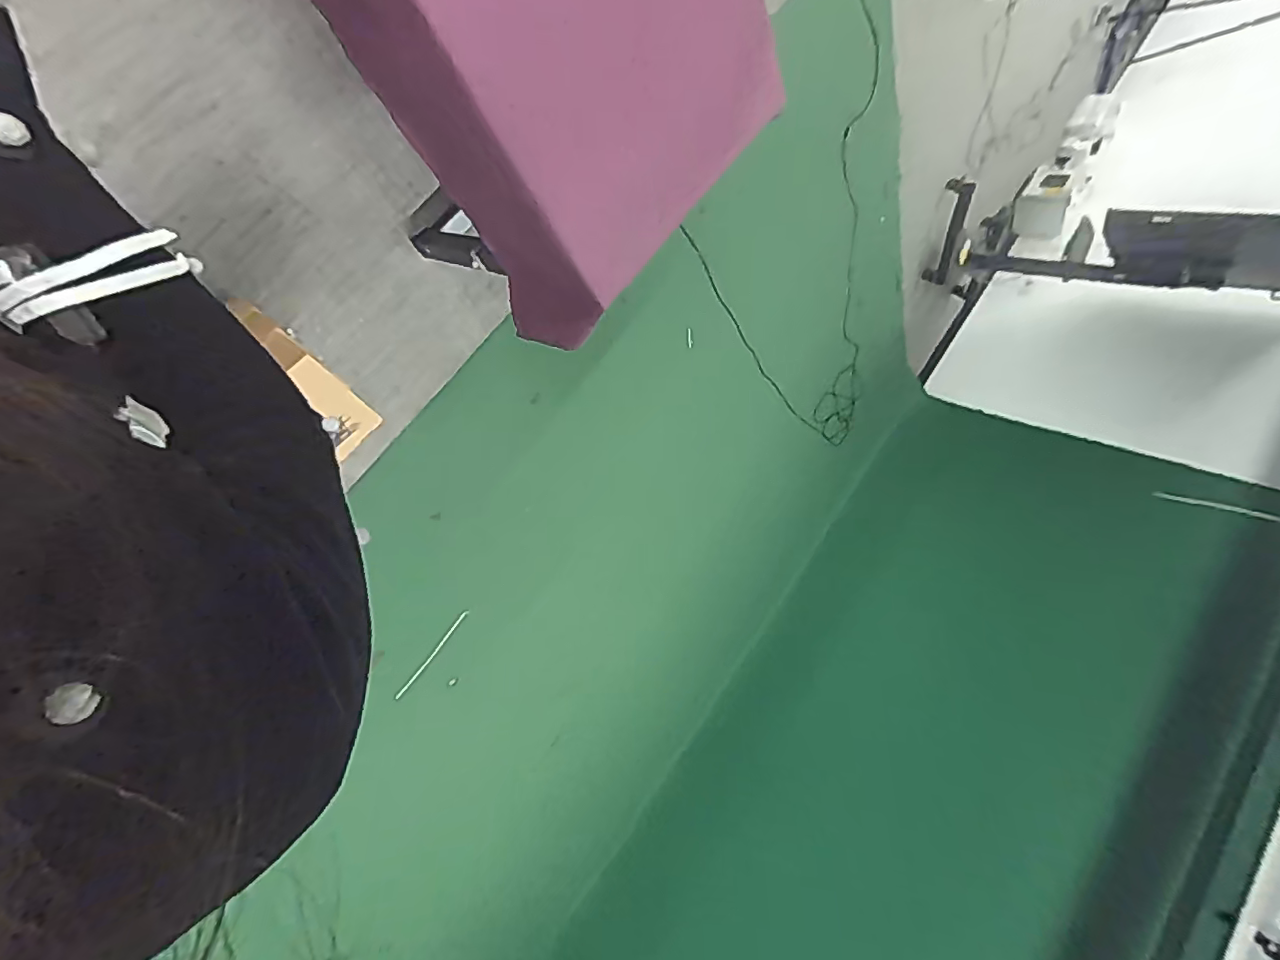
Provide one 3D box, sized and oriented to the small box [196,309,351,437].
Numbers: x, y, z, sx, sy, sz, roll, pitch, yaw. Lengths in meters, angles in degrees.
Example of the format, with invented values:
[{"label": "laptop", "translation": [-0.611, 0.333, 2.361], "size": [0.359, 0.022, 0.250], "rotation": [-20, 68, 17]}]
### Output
[{"label": "small box", "translation": [-0.732, -0.220, 1.079], "size": [0.168, 0.176, 0.179], "rotation": [-51, 142, -12]}]
